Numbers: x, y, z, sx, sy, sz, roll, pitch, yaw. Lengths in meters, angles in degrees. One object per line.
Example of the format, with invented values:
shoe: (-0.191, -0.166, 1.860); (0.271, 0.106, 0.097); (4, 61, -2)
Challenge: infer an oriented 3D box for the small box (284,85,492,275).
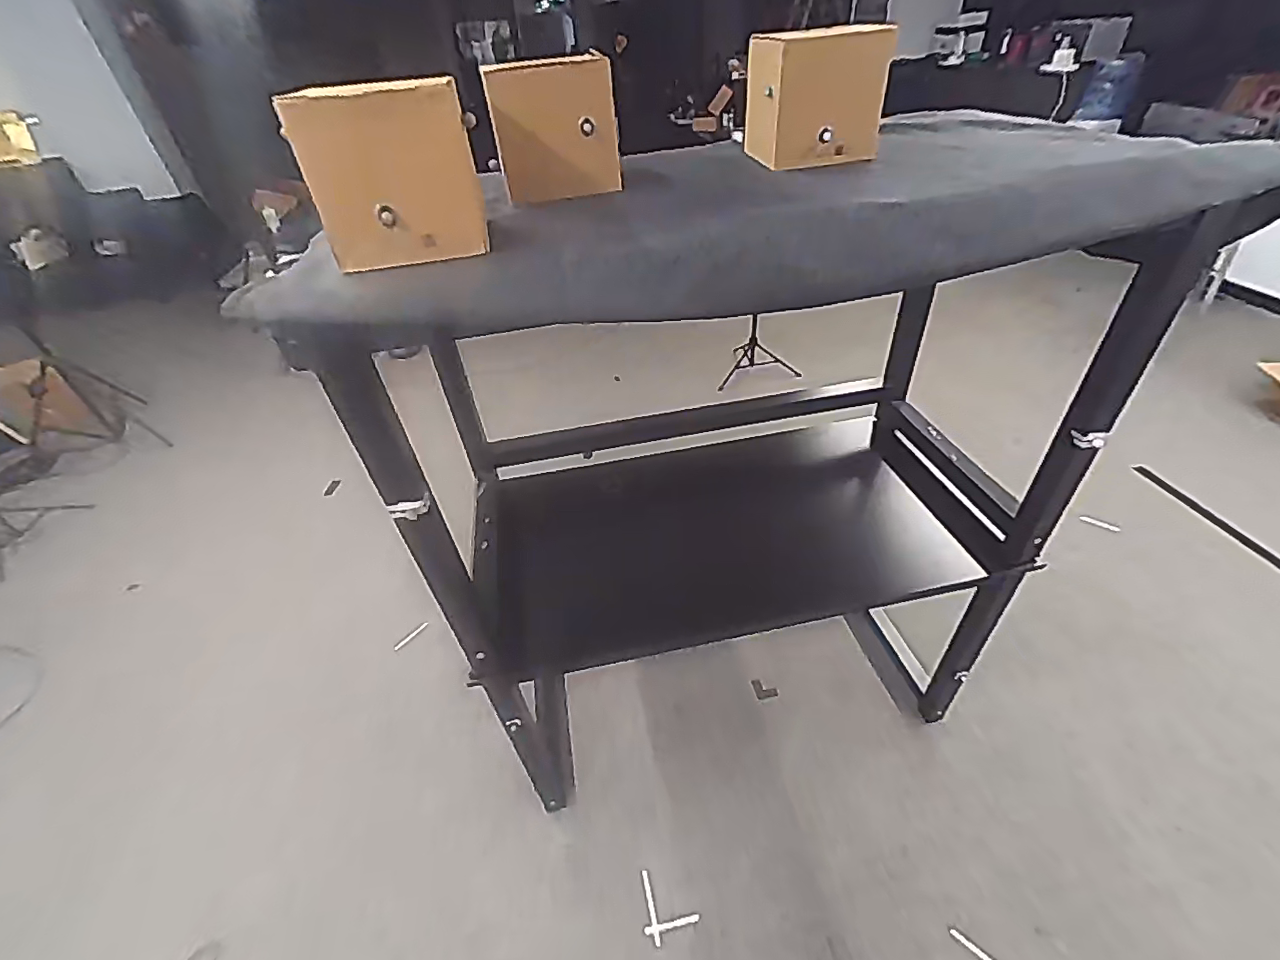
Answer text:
small box: (-0.278, -0.358, 0.643); (0.168, 0.176, 0.179); (-12, 40, -8)

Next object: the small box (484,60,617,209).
small box: (-0.134, -0.536, 0.838); (0.179, 0.176, 0.168); (-12, 40, -9)
